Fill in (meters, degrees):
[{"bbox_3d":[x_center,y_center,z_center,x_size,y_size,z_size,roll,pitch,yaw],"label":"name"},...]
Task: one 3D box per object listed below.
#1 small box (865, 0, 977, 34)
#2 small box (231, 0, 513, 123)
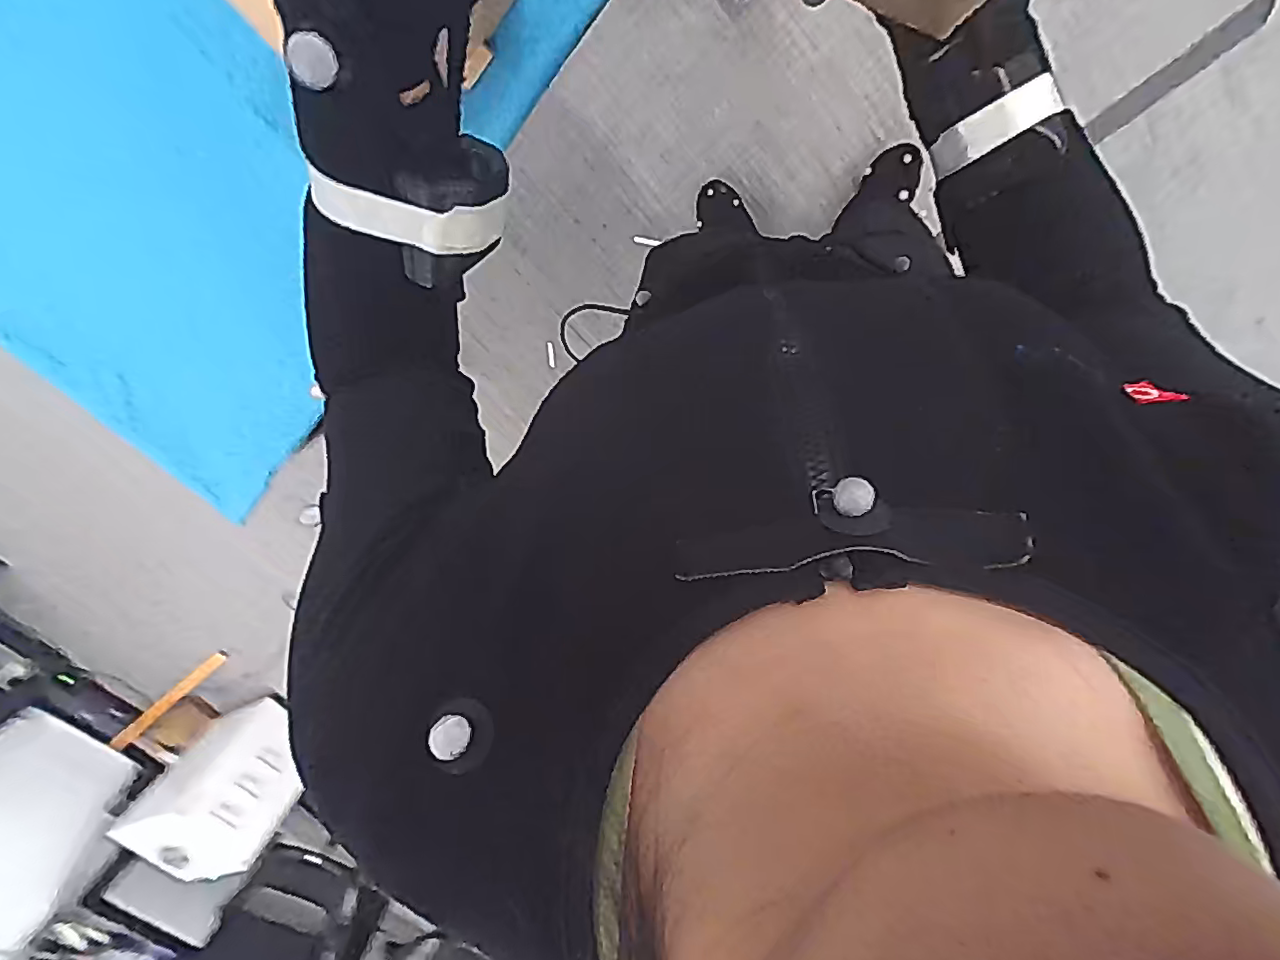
[{"bbox_3d":[0.102,-0.309,0.204,0.179,0.176,0.168,28,128,3],"label":"small box"},{"bbox_3d":[-0.251,-0.463,0.486,0.168,0.176,0.179,-37,107,28],"label":"small box"}]
